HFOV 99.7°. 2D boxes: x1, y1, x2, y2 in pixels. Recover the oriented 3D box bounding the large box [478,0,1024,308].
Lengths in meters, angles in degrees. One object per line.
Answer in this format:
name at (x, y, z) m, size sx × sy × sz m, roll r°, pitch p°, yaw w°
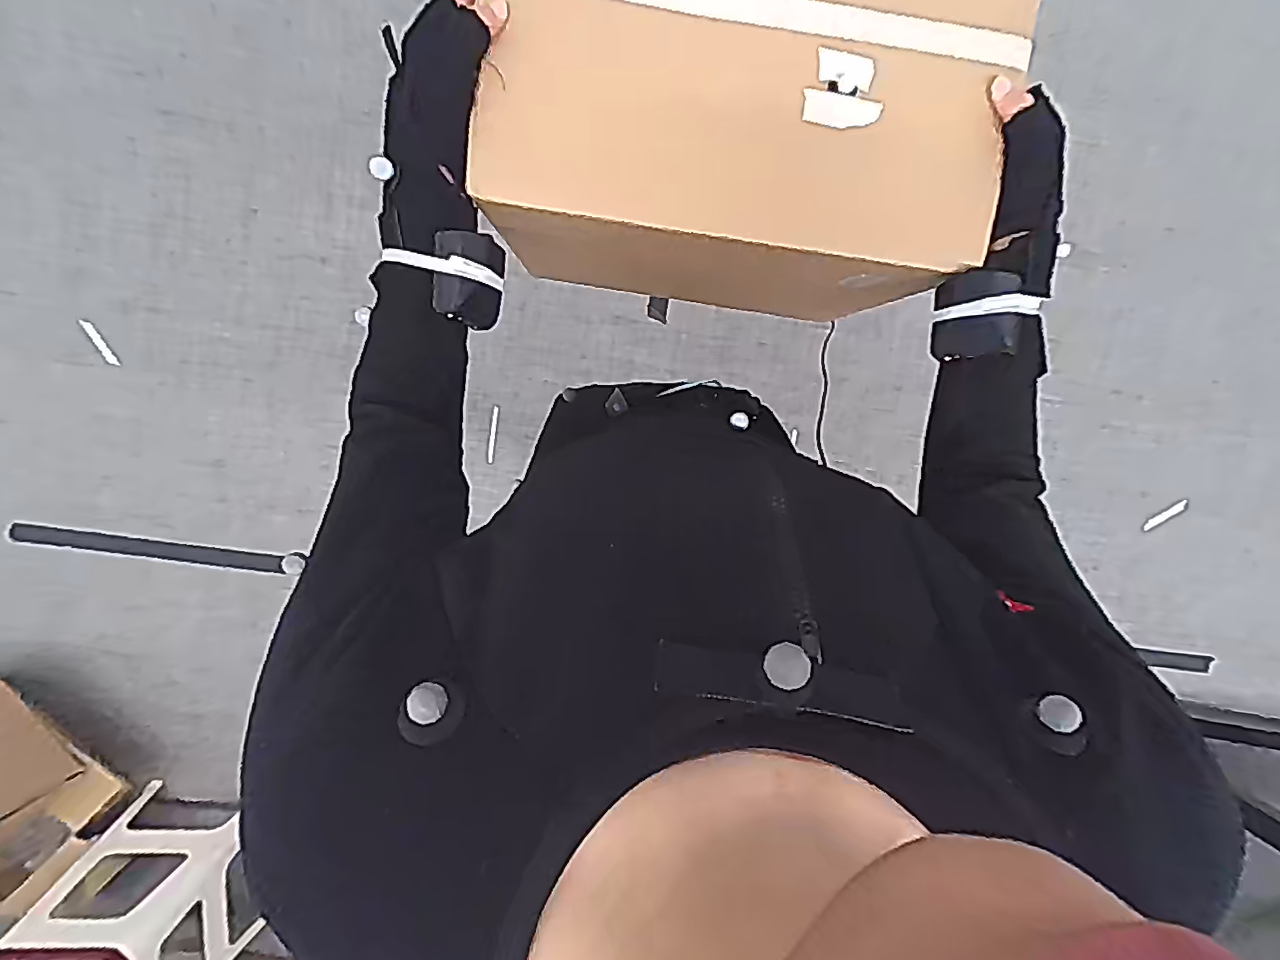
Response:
large box at (0.078, -0.374, 0.547) m, size 0.408 × 0.320 × 0.320 m, roll 7°, pitch 101°, yaw -5°
